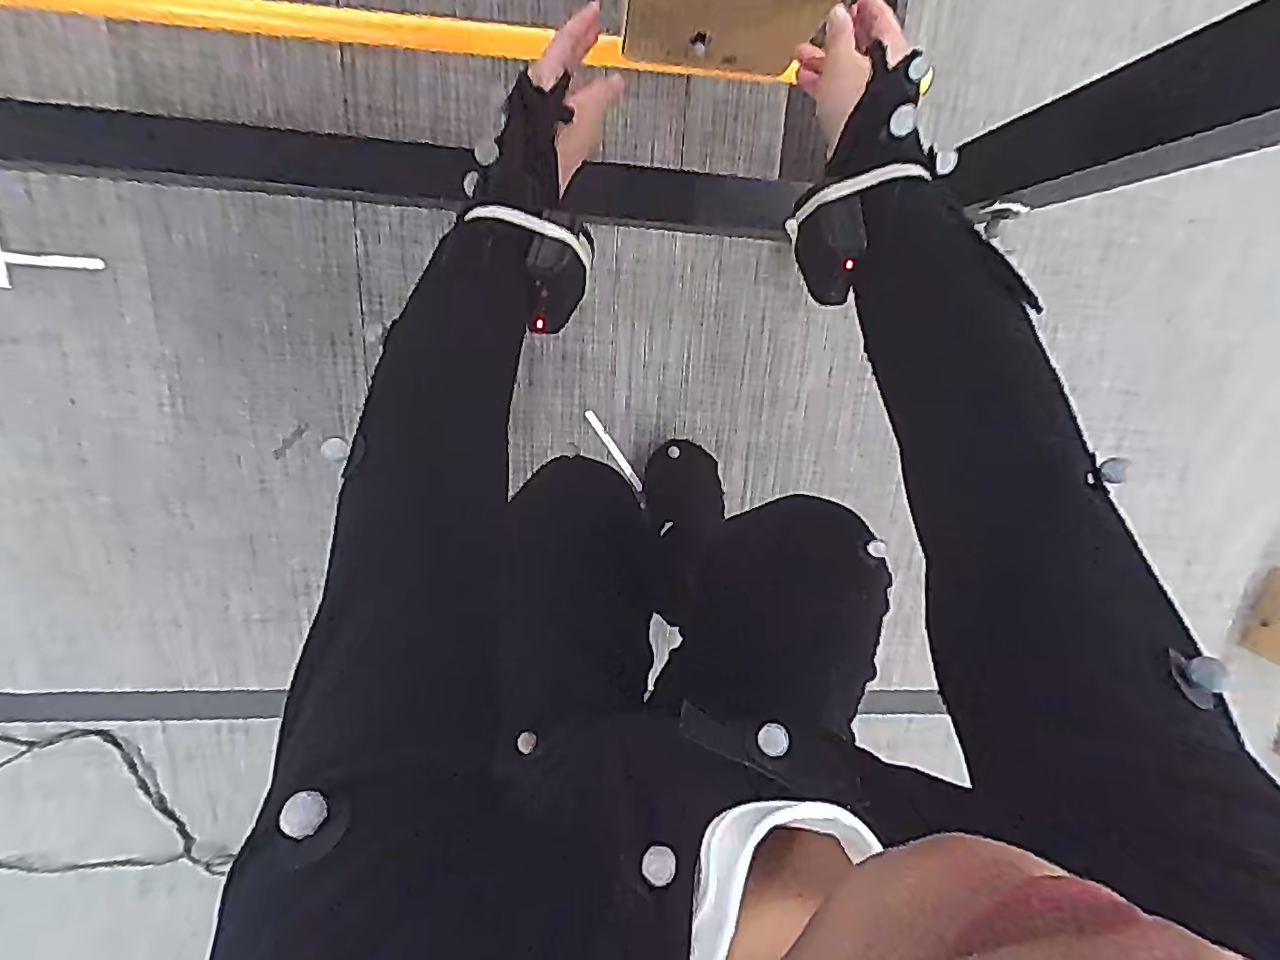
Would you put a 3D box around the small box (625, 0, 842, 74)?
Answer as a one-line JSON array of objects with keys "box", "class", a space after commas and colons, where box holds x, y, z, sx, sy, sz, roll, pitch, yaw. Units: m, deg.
[{"box": [0.077, -0.473, 0.437, 0.168, 0.176, 0.179, 2, 107, -6], "class": "small box"}]

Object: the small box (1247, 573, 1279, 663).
[{"box": [1.191, 0.248, 0.889, 0.179, 0.176, 0.168, 1, 105, -7], "class": "small box"}]
